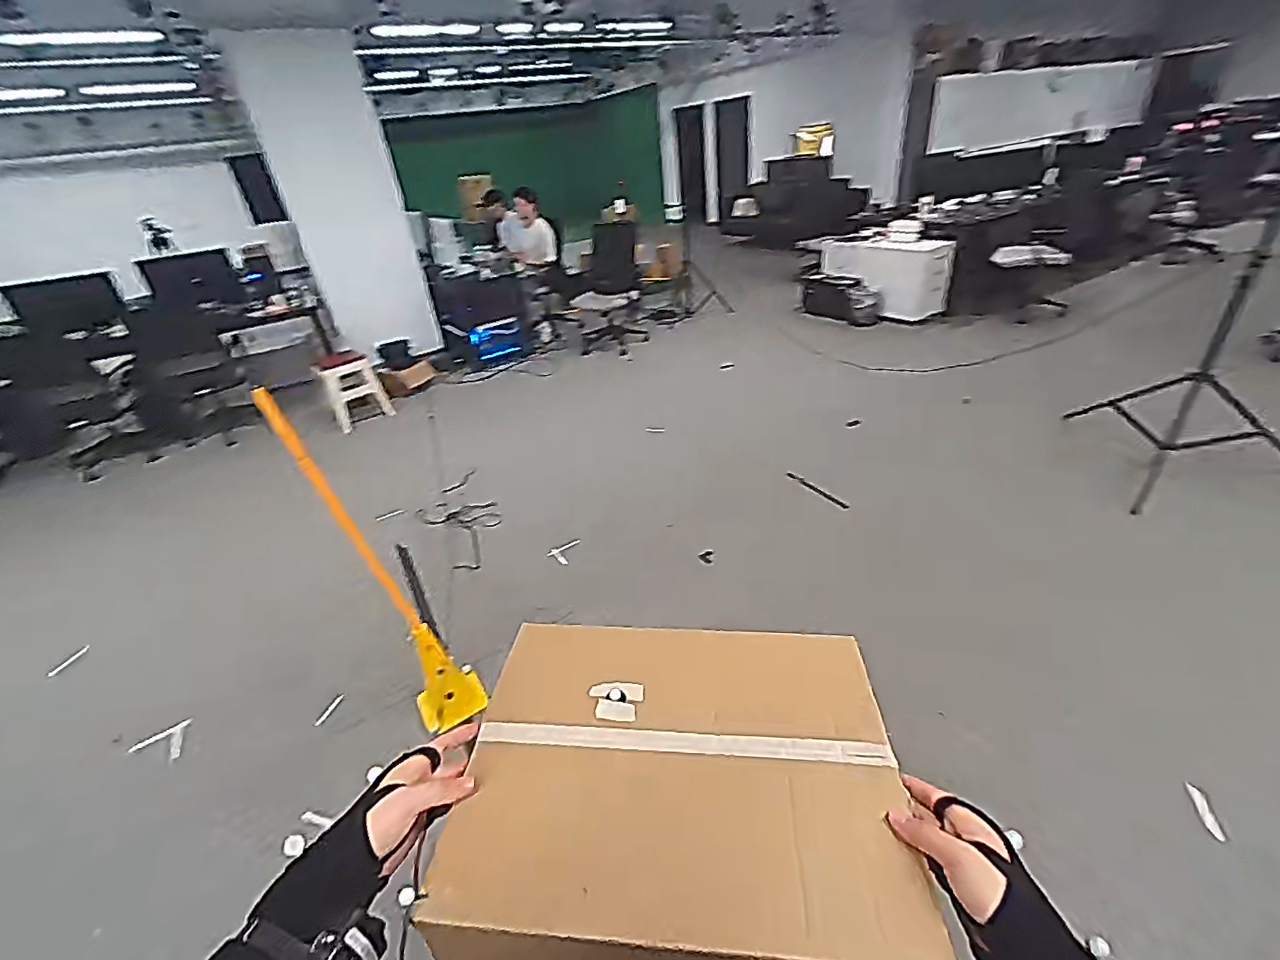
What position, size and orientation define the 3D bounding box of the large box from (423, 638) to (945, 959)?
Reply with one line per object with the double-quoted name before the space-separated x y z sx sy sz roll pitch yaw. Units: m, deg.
"large box" 0.047 0.402 0.609 0.408 0.320 0.320 -1 29 6
